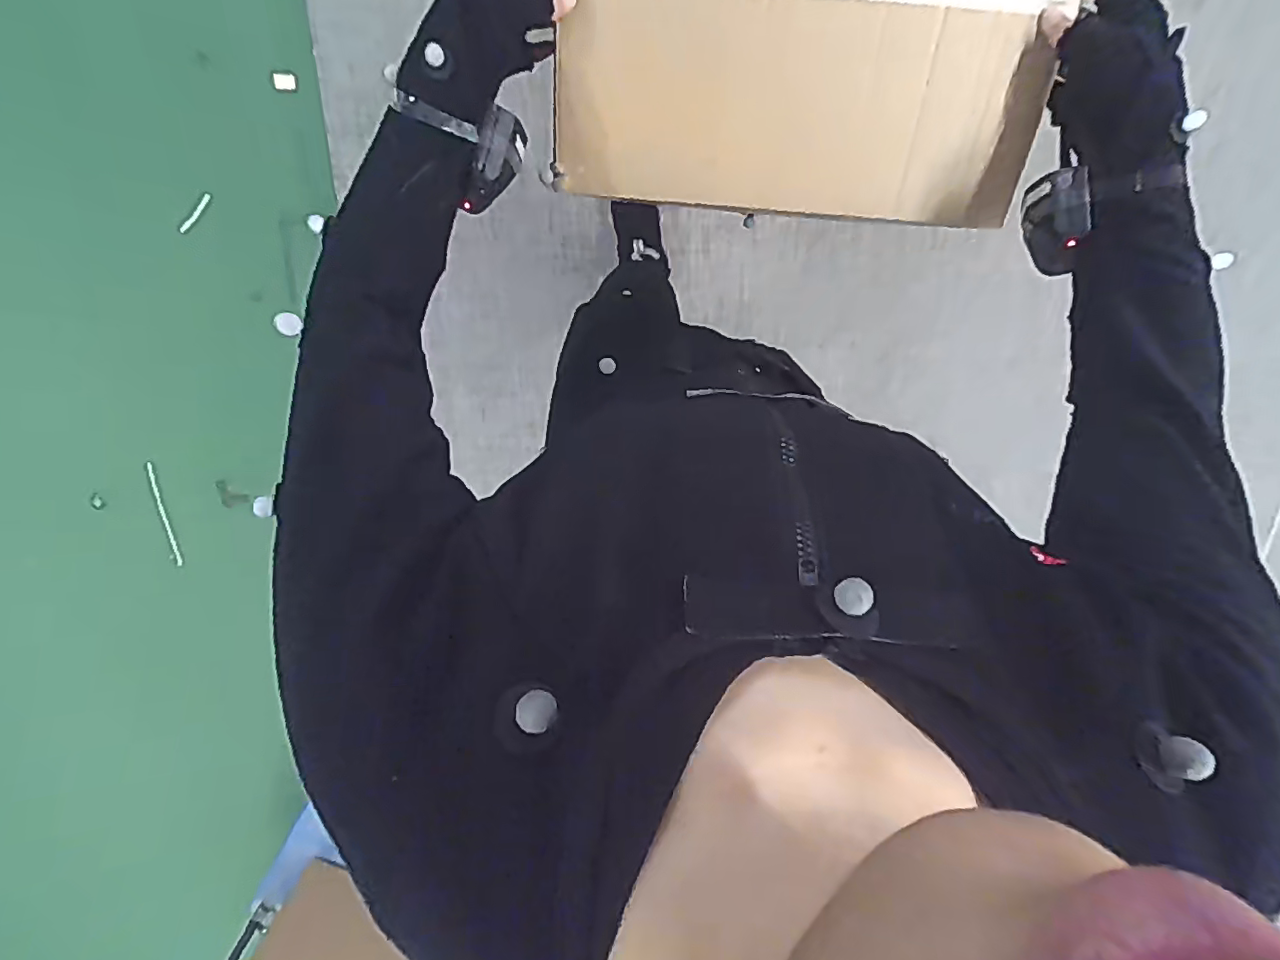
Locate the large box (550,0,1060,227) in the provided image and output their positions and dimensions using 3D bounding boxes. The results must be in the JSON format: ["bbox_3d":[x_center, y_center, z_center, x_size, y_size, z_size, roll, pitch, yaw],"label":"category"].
[{"bbox_3d":[0.135,-0.447,0.555,0.408,0.320,0.320,5,115,0],"label":"large box"}]
